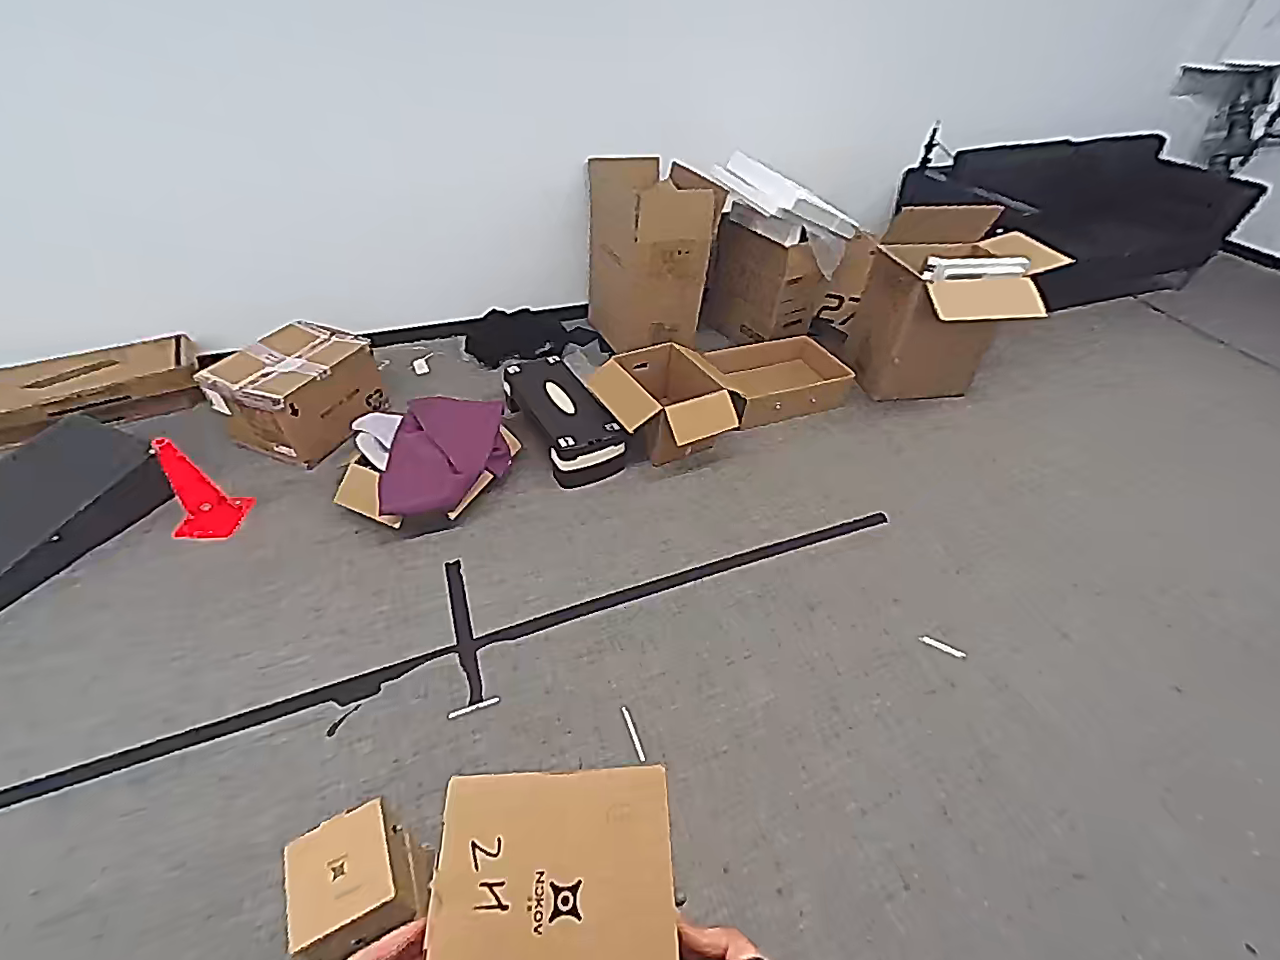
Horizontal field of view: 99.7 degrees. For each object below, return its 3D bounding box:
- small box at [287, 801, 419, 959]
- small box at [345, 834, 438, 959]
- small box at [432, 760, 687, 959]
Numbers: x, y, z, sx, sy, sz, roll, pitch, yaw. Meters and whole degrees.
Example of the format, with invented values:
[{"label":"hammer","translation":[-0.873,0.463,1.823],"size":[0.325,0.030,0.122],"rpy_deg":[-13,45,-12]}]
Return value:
[{"label":"small box","translation":[-0.527,0.746,1.002],"size":[0.168,0.176,0.179],"rpy_deg":[-20,49,-21]},{"label":"small box","translation":[-0.530,0.872,1.105],"size":[0.179,0.176,0.168],"rpy_deg":[-16,47,-20]},{"label":"small box","translation":[-0.059,0.343,0.456],"size":[0.179,0.176,0.168],"rpy_deg":[-2,53,-3]}]
